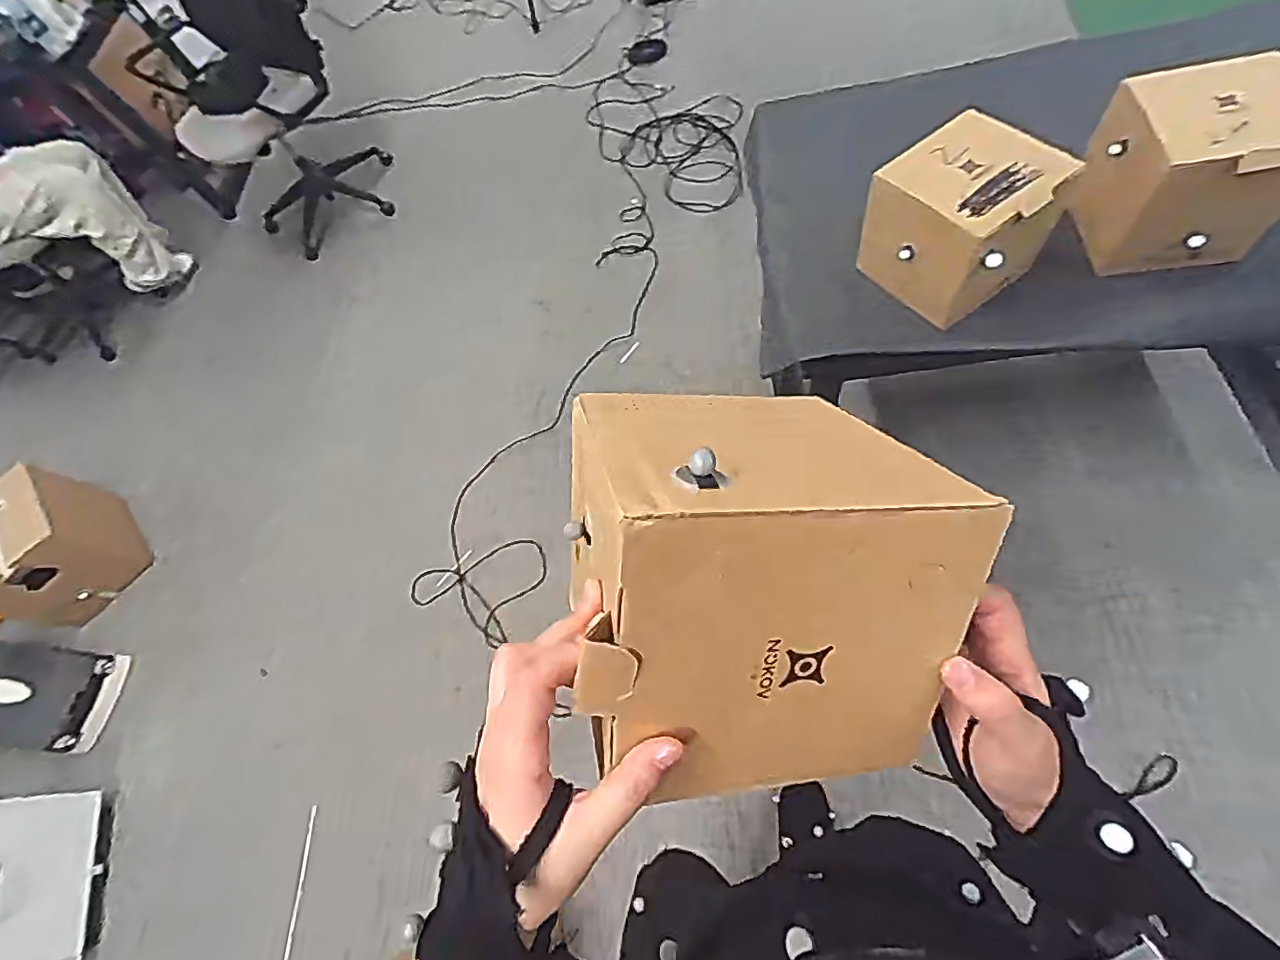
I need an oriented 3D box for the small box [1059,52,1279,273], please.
[{"bbox_3d":[0.695,-0.405,0.709,0.168,0.176,0.179,-4,64,14],"label":"small box"}]
